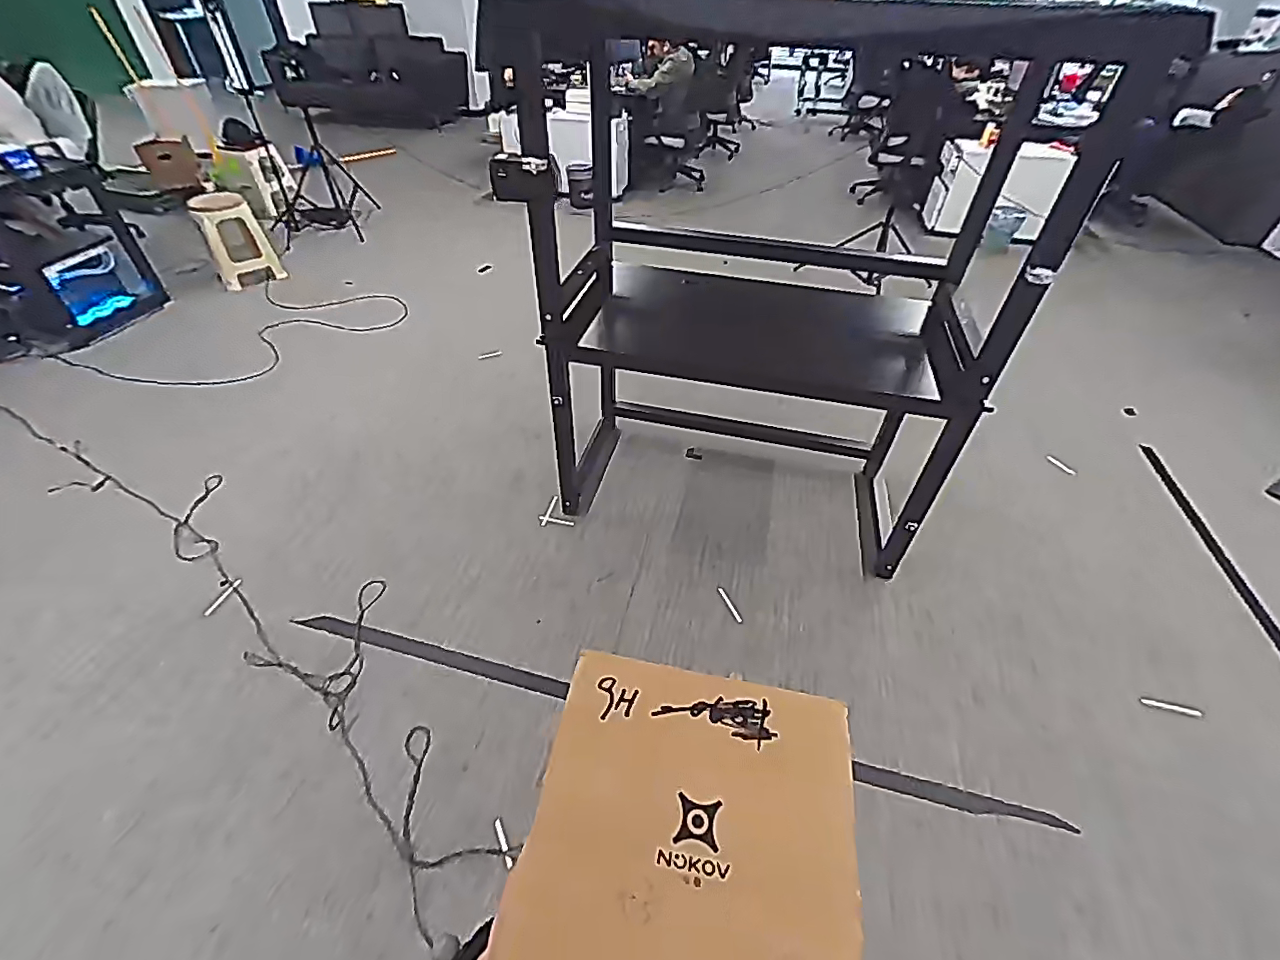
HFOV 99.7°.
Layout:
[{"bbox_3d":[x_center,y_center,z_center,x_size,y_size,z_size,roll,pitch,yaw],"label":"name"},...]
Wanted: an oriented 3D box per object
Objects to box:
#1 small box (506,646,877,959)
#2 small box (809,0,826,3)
[{"bbox_3d":[0.029,0.231,0.331,0.168,0.176,0.179,10,50,5],"label":"small box"},{"bbox_3d":[0.290,-0.981,0.976,0.168,0.176,0.179,11,42,10],"label":"small box"}]
